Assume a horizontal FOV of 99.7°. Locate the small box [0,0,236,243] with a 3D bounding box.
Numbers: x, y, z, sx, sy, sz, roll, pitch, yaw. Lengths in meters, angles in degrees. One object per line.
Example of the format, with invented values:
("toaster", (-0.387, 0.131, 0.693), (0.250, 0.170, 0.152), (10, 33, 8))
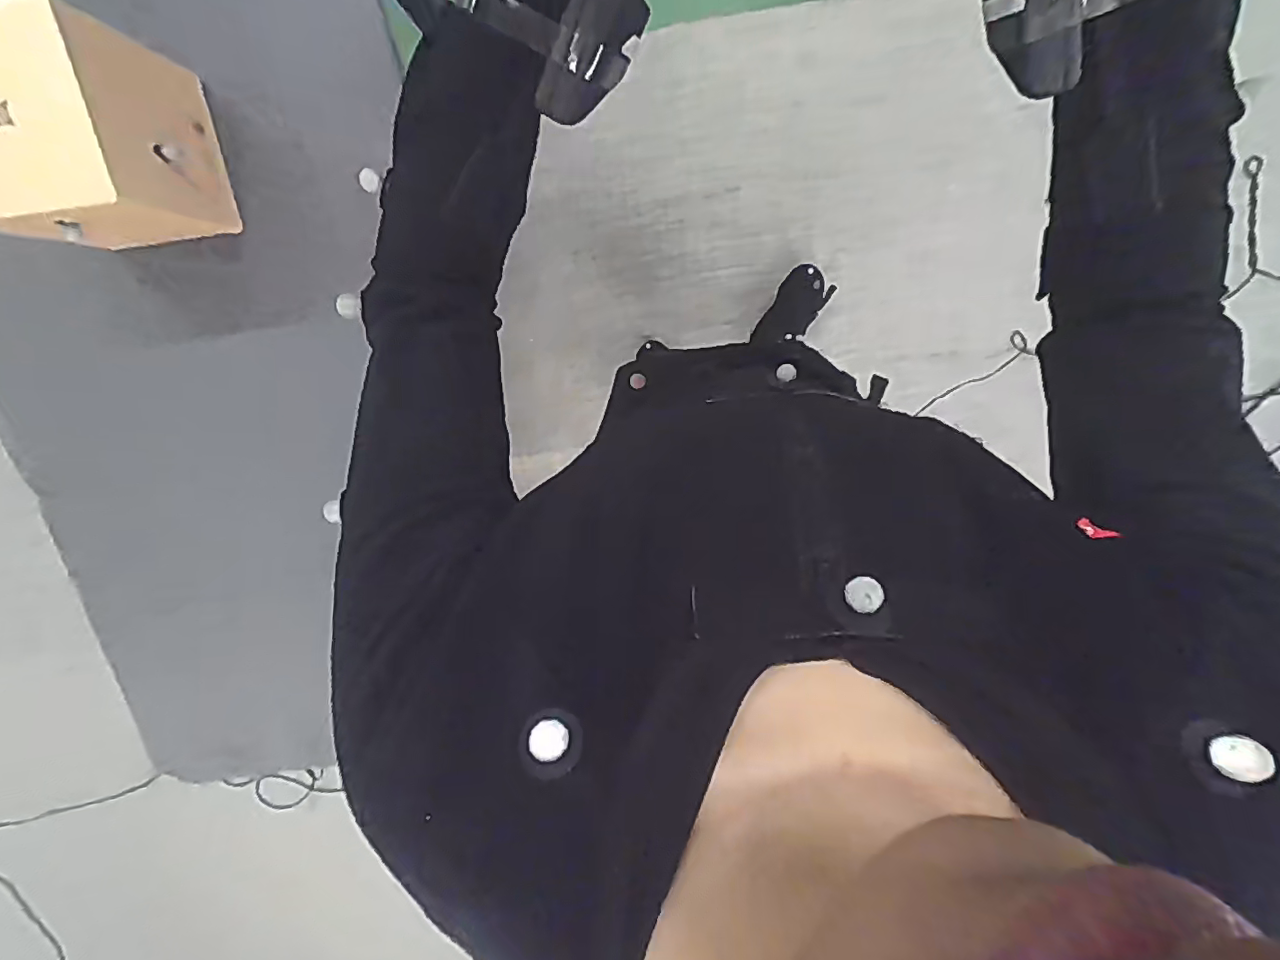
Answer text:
("small box", (-0.573, -0.353, 0.566), (0.179, 0.176, 0.168), (-6, 107, 4))
